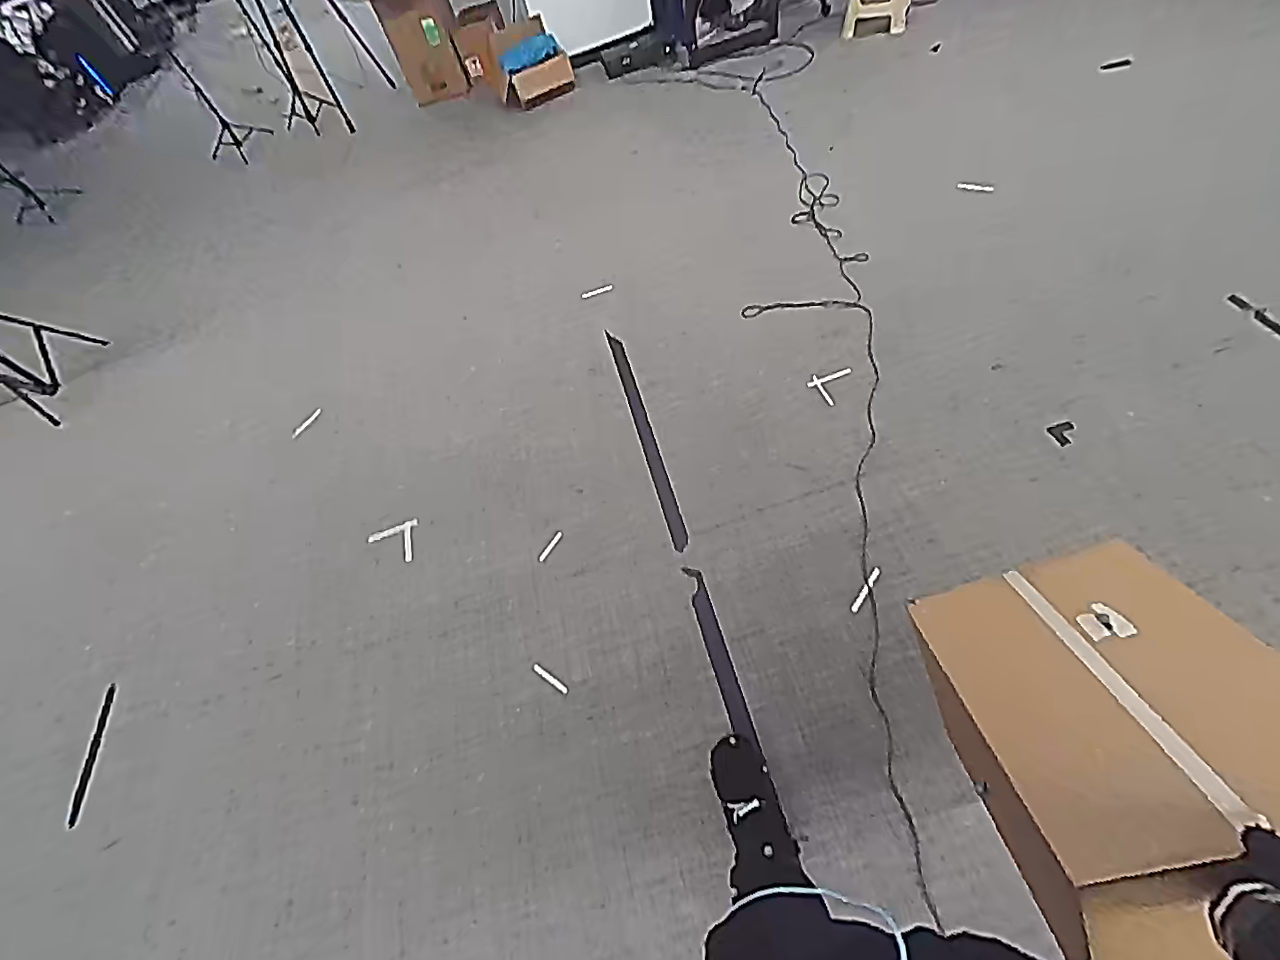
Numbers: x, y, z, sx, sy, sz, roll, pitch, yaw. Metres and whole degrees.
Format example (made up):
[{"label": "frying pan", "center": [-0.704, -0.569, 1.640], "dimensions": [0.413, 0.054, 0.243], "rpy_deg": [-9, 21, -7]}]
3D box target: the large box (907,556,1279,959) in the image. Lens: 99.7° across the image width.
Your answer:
[{"label": "large box", "center": [0.625, 0.374, 0.719], "dimensions": [0.320, 0.320, 0.408], "rpy_deg": [-21, 23, 12]}]
